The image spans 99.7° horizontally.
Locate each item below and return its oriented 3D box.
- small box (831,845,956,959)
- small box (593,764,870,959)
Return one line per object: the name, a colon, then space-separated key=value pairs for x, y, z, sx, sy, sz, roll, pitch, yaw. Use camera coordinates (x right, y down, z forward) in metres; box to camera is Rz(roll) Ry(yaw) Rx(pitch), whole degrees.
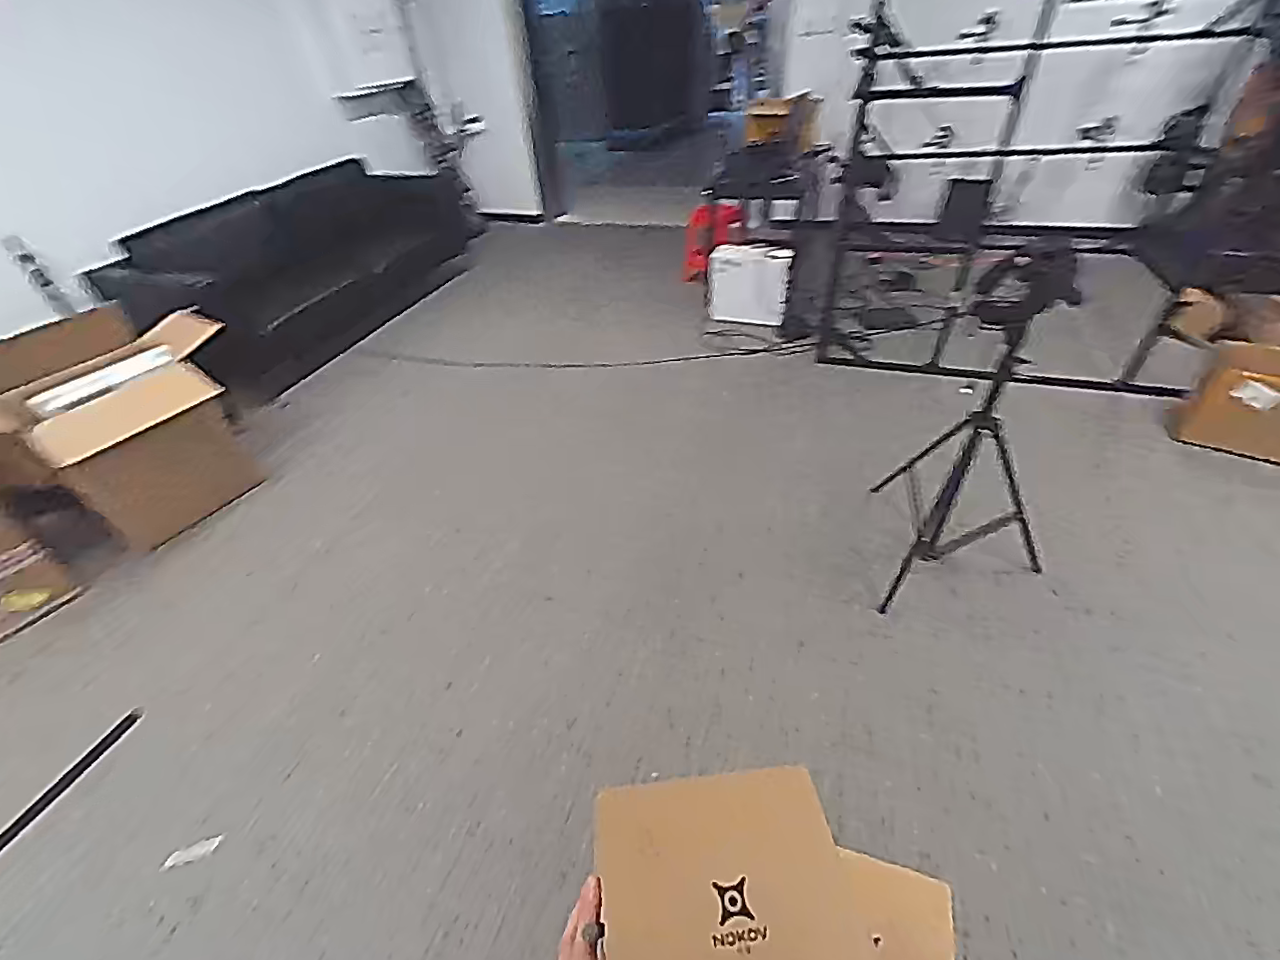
small box: x=0.237 y=0.541 z=0.600 sx=0.168 sy=0.176 sz=0.179 roll=10 pitch=44 yaw=17
small box: x=0.053 y=0.343 z=0.400 sx=0.168 sy=0.176 sz=0.179 roll=-3 pitch=41 yaw=-9
